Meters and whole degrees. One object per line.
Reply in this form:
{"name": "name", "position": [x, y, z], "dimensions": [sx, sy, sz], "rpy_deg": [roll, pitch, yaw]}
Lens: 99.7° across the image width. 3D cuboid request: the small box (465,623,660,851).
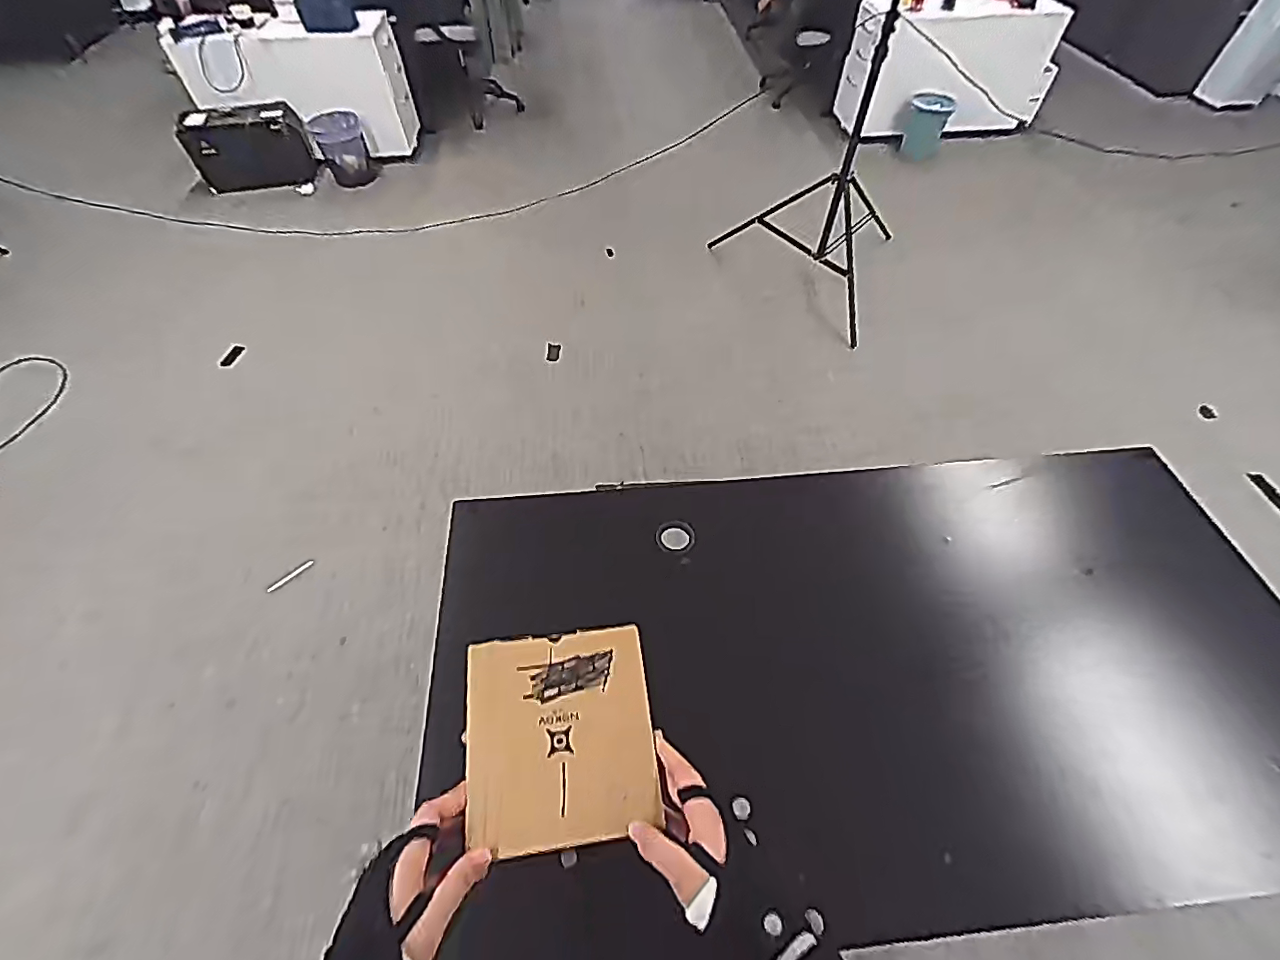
{"name": "small box", "position": [-0.079, 0.267, 0.562], "dimensions": [0.168, 0.176, 0.179], "rpy_deg": [-5, 59, -7]}
